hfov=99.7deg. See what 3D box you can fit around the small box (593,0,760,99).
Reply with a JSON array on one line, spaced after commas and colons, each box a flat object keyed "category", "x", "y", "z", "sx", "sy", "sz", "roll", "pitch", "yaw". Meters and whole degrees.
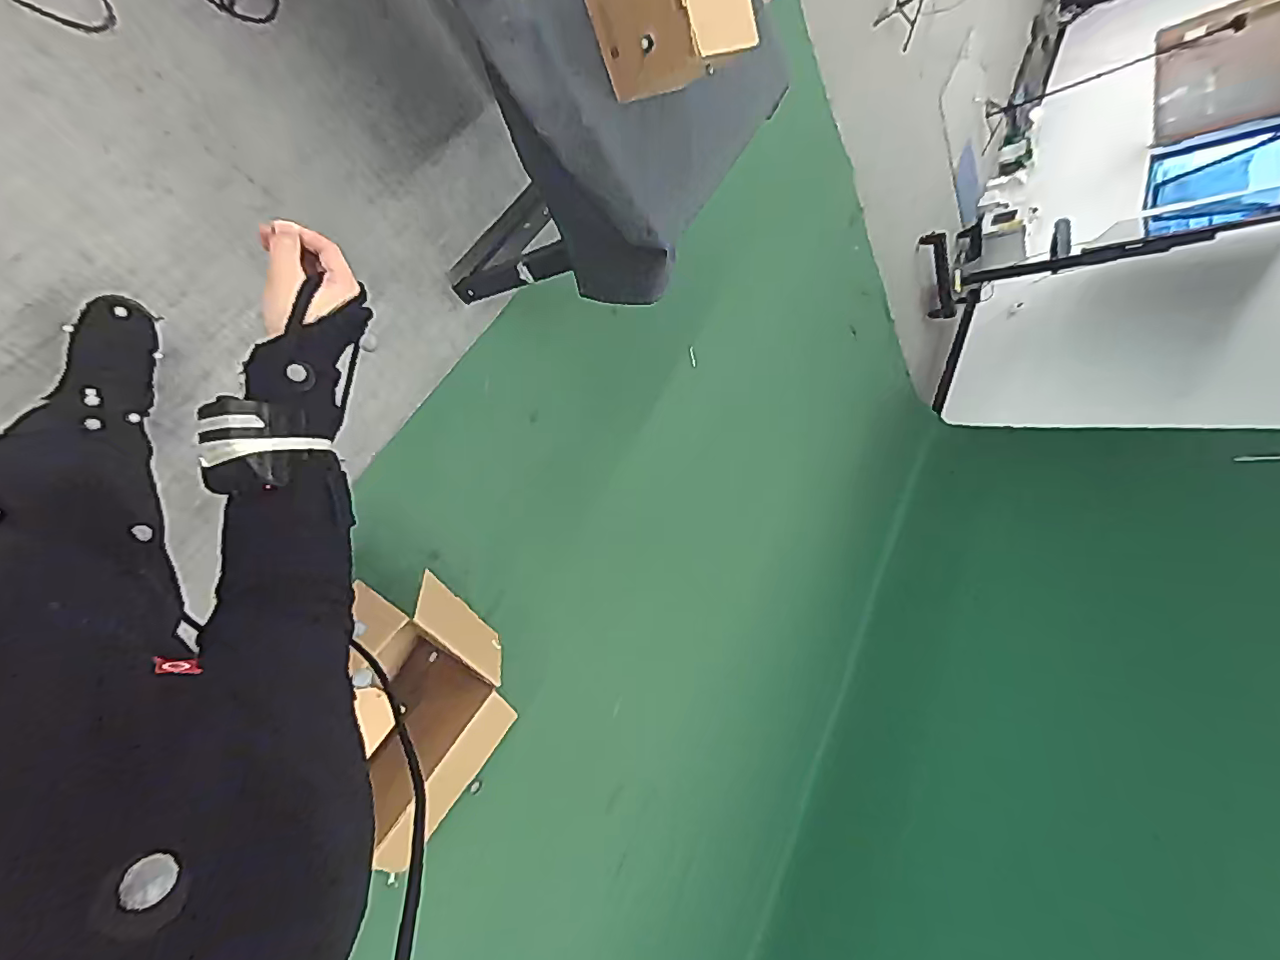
[{"category": "small box", "x": 0.048, "y": -0.702, "z": 0.807, "sx": 0.179, "sy": 0.176, "sz": 0.168, "roll": -44, "pitch": 124, "yaw": -35}]
